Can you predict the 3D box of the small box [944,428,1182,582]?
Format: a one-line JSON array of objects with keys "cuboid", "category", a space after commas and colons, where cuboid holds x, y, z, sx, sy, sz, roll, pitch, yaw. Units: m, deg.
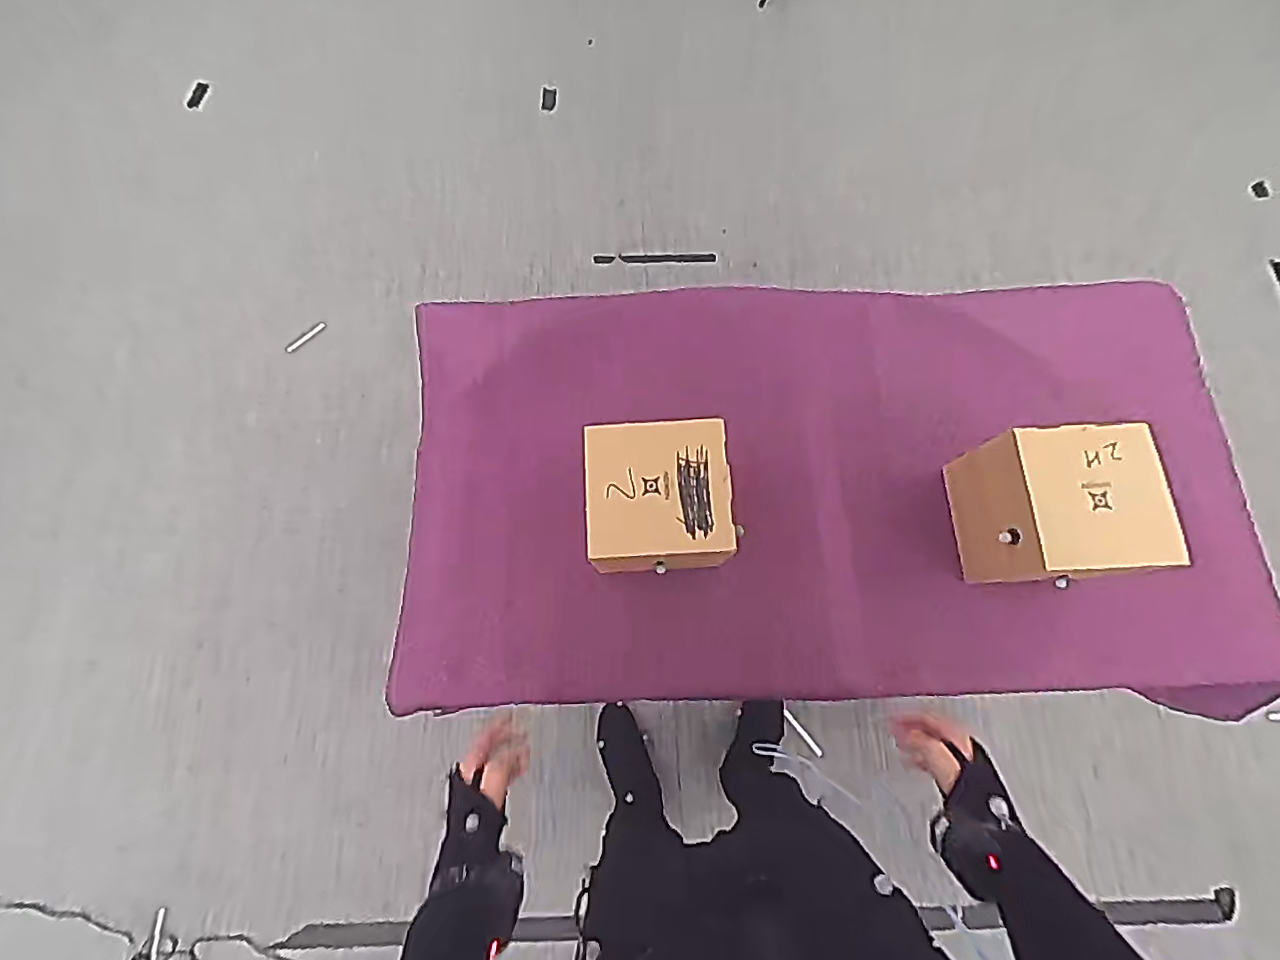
[{"cuboid": [0.537, 0.043, 0.717, 0.168, 0.176, 0.179, -2, 74, 0], "category": "small box"}]
